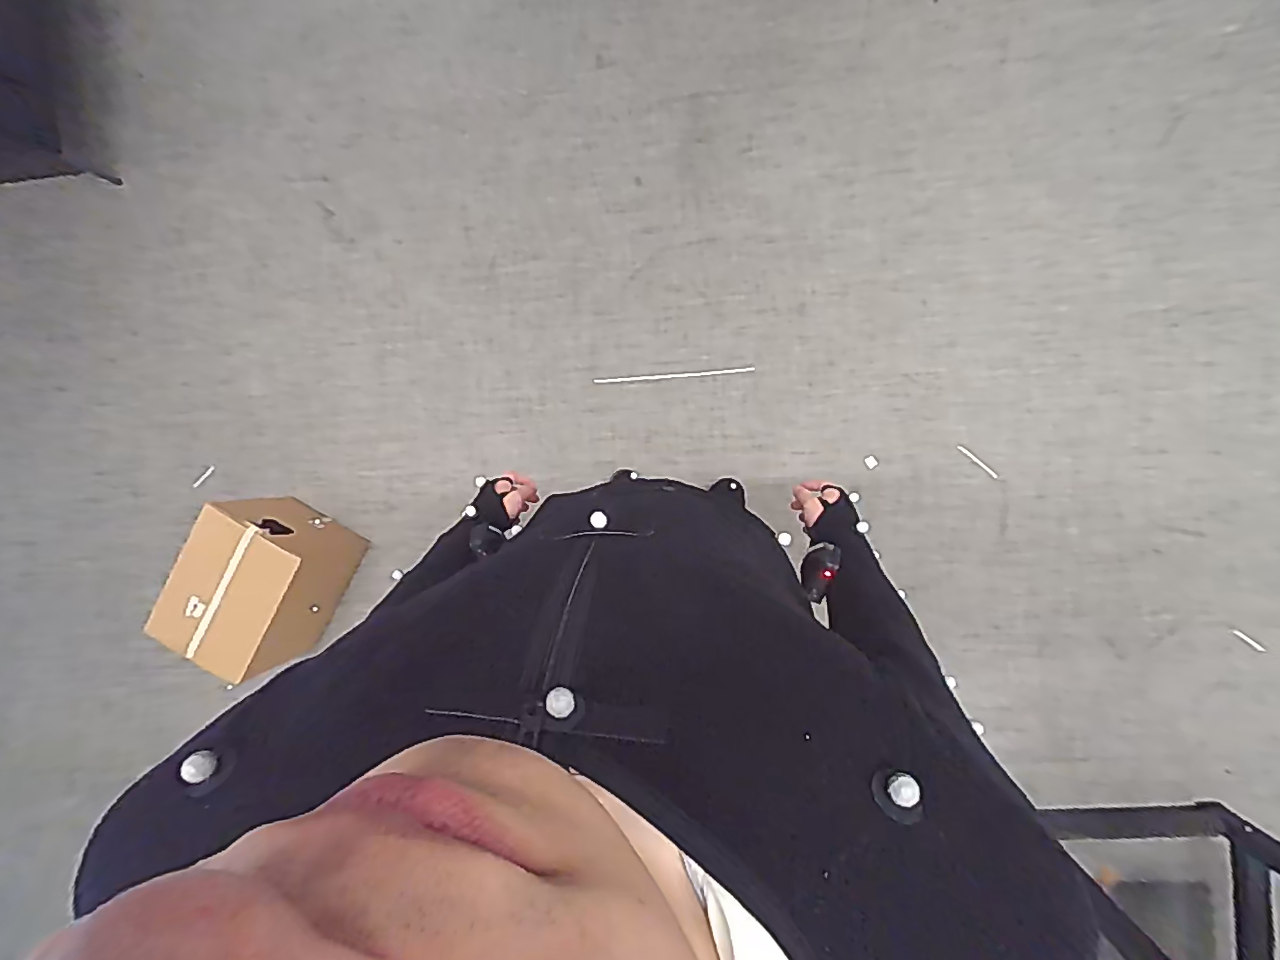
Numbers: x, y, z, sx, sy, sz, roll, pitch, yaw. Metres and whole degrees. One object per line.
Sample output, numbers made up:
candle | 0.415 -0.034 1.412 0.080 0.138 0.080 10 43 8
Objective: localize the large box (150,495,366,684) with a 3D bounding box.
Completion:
large box | -1.098 0.297 1.591 0.320 0.320 0.408 29 95 4
